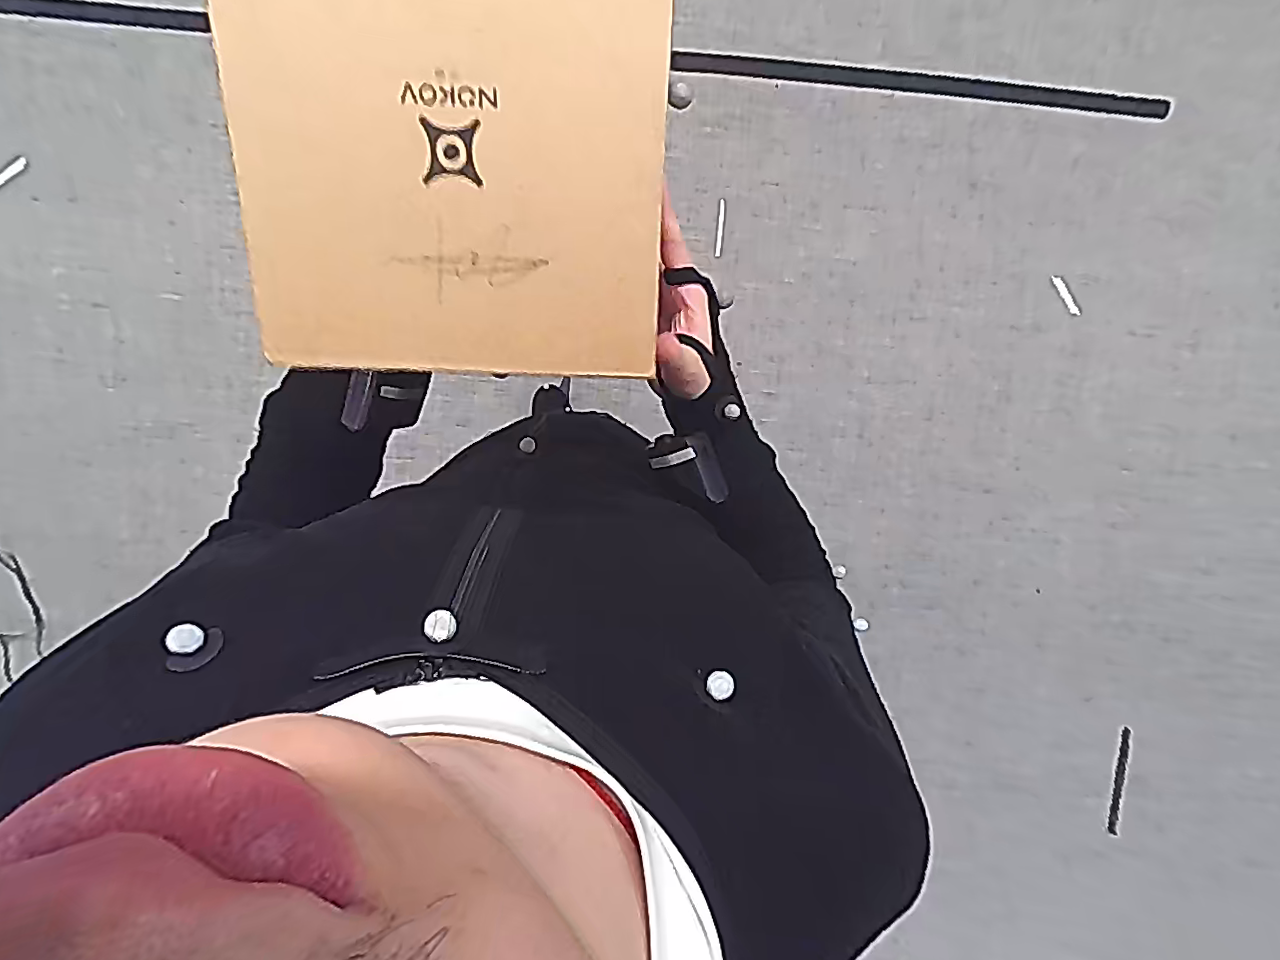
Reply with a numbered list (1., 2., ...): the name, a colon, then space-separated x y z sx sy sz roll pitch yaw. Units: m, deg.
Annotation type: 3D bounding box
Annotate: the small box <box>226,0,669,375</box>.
1. small box: -0.078 -0.158 0.295 0.168 0.176 0.179 1 109 -3
